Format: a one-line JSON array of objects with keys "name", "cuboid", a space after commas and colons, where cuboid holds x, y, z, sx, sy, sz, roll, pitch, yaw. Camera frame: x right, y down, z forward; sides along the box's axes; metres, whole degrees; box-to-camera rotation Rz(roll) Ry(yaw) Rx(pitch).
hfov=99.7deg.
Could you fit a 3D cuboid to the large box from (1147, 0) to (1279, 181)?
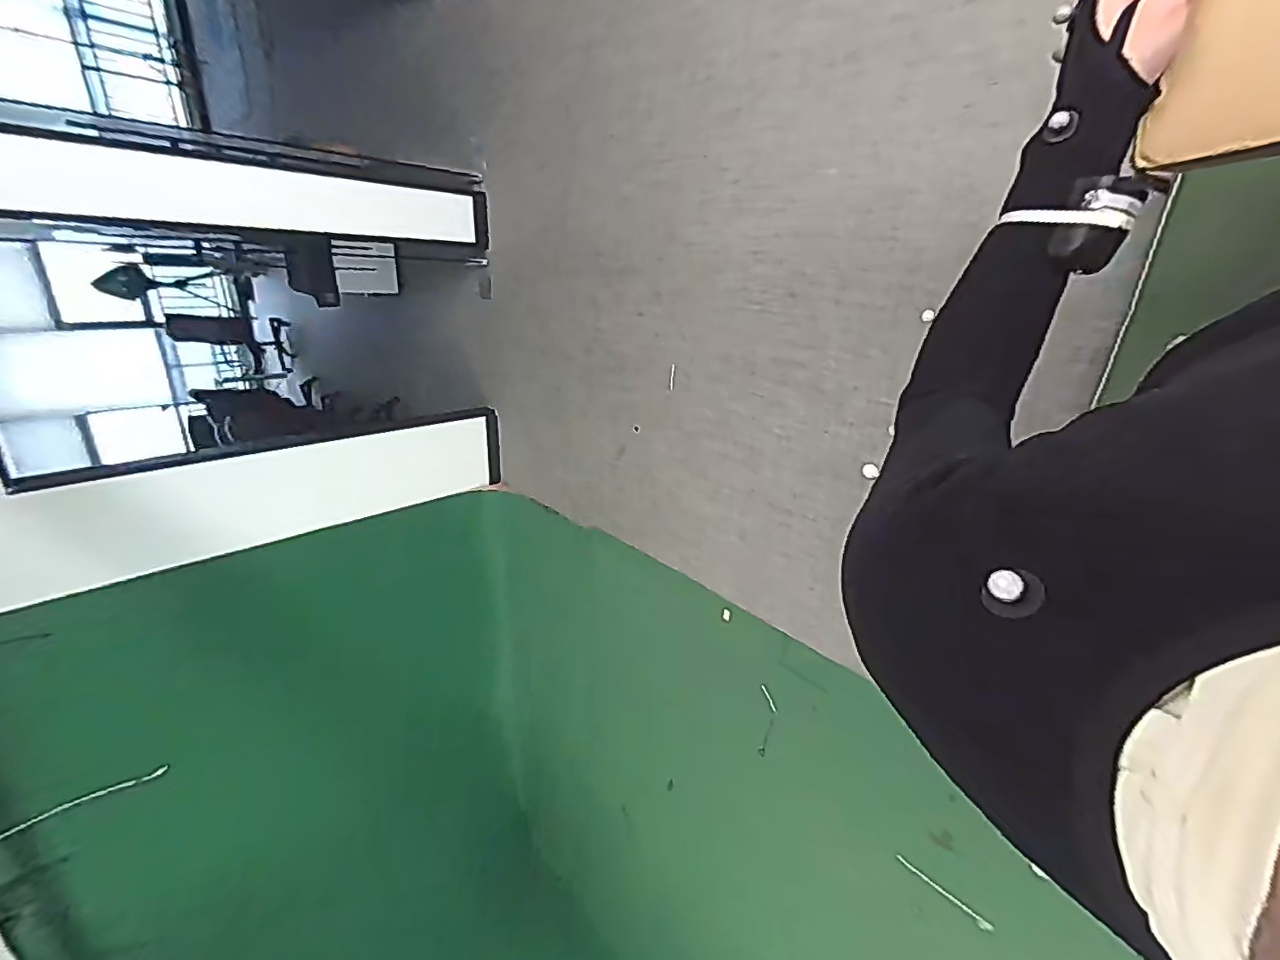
[{"name": "large box", "cuboid": [0.619, -0.416, 0.340, 0.408, 0.320, 0.320, 10, 117, 46]}]
